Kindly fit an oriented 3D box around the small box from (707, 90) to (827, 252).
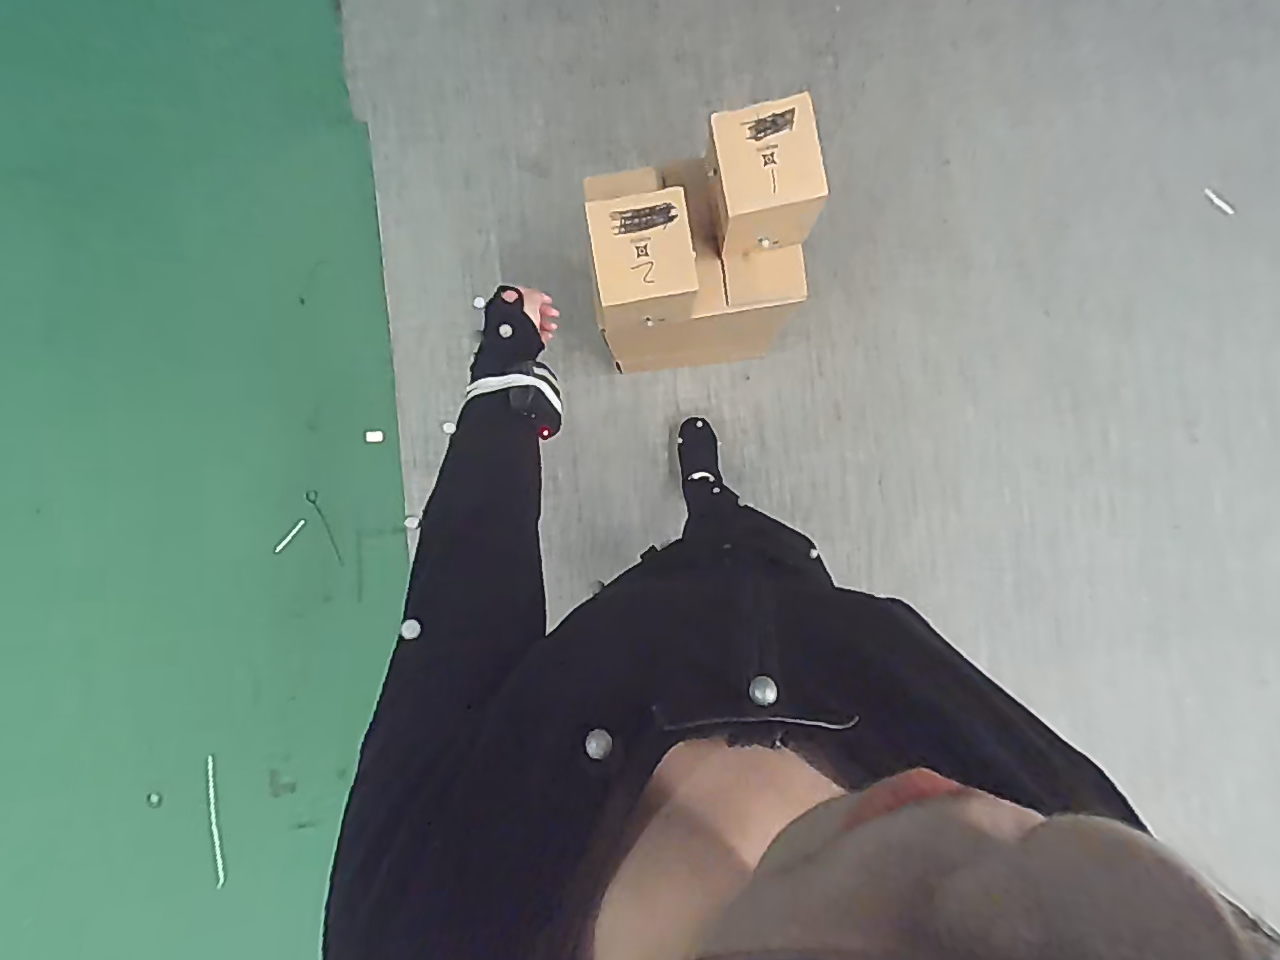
[{"bbox_3d":[0.216,-0.537,0.961,0.168,0.176,0.179,-10,90,5],"label":"small box"}]
